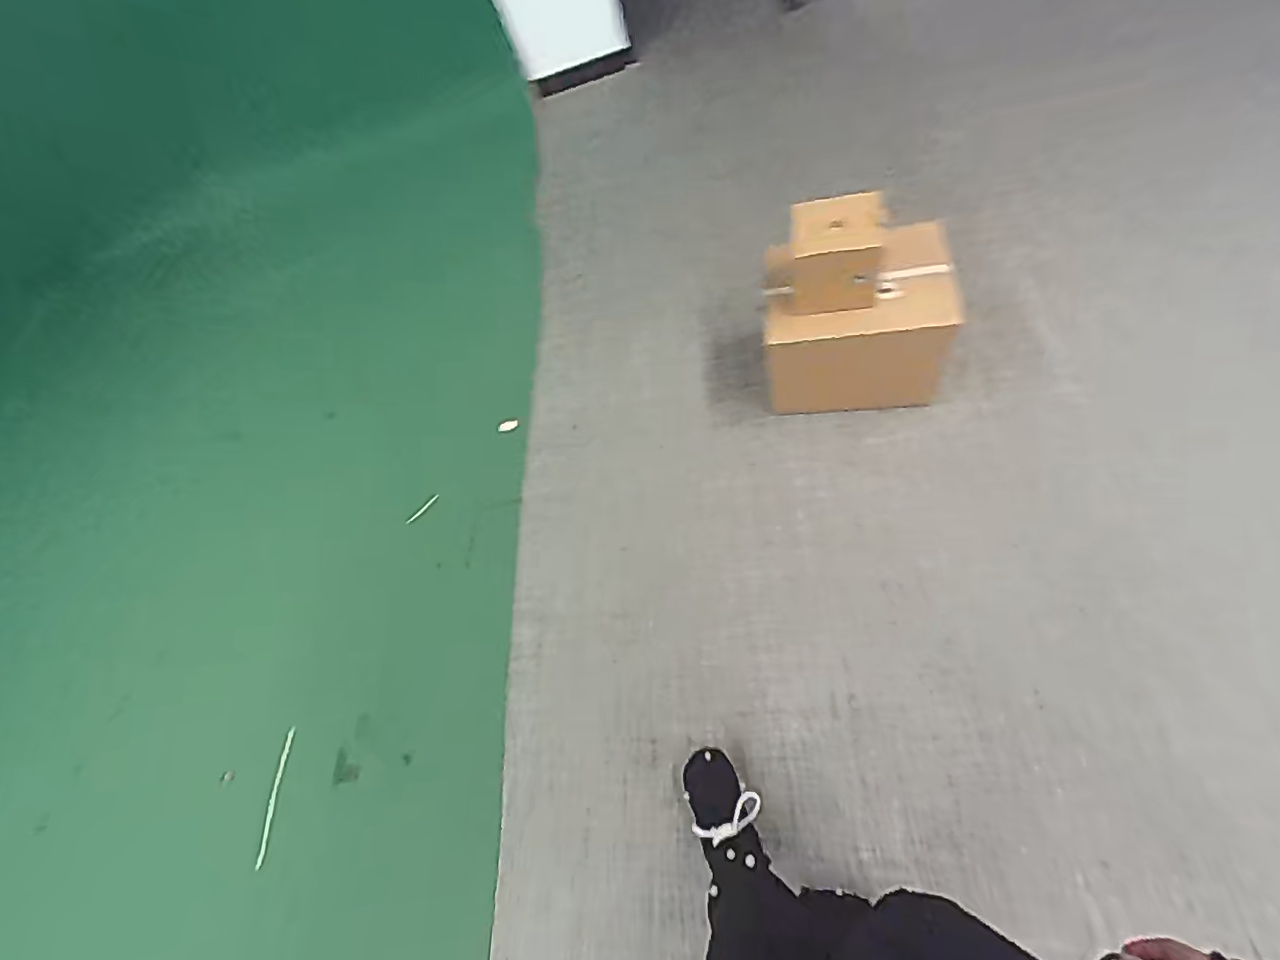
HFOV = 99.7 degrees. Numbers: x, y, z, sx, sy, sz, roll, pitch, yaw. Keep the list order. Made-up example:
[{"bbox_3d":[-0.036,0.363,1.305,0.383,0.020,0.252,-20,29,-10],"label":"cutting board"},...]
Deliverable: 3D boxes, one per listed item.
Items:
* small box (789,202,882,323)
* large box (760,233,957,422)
[{"bbox_3d":[0.420,-0.469,1.184,0.179,0.176,0.168,-3,61,17],"label":"small box"},{"bbox_3d":[0.525,-0.369,1.384,0.408,0.320,0.320,-3,64,15],"label":"large box"}]
